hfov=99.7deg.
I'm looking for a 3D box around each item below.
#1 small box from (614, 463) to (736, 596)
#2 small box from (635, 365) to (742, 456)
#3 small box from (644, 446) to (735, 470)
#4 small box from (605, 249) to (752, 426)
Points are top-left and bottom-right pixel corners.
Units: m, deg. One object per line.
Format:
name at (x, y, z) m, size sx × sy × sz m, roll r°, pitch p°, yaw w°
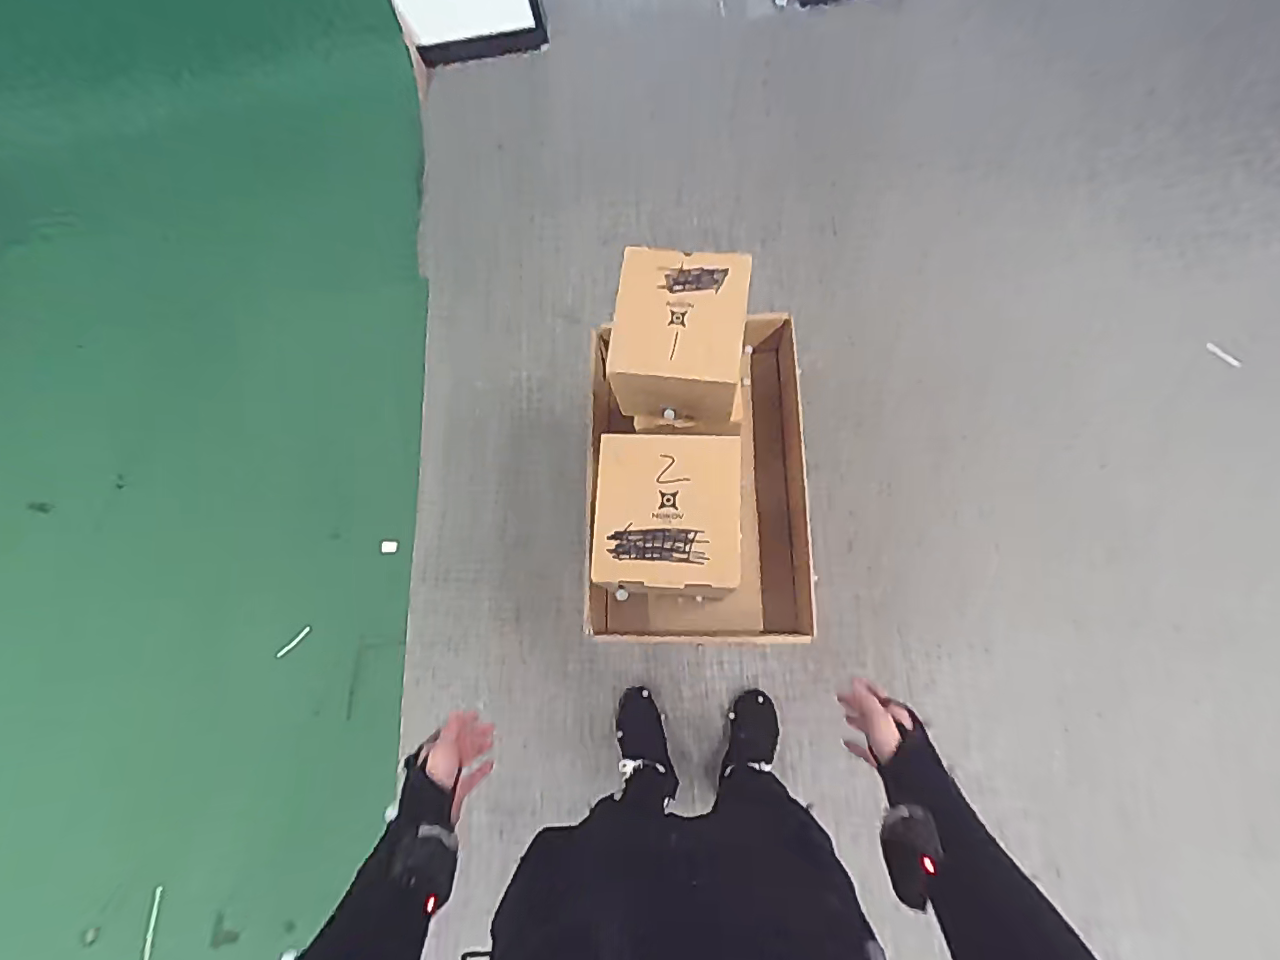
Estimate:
small box at (0.060, 0.085, 0.849) m, size 0.168 × 0.176 × 0.179 m, roll 4°, pitch 74°, yaw 7°
small box at (0.079, -0.148, 0.913) m, size 0.168 × 0.176 × 0.179 m, roll -2°, pitch 77°, yaw 5°
small box at (0.097, -0.112, 1.070) m, size 0.168 × 0.176 × 0.179 m, roll -2°, pitch 76°, yaw 7°
small box at (0.056, -0.191, 0.756) m, size 0.168 × 0.176 × 0.179 m, roll 7°, pitch 79°, yaw 8°
